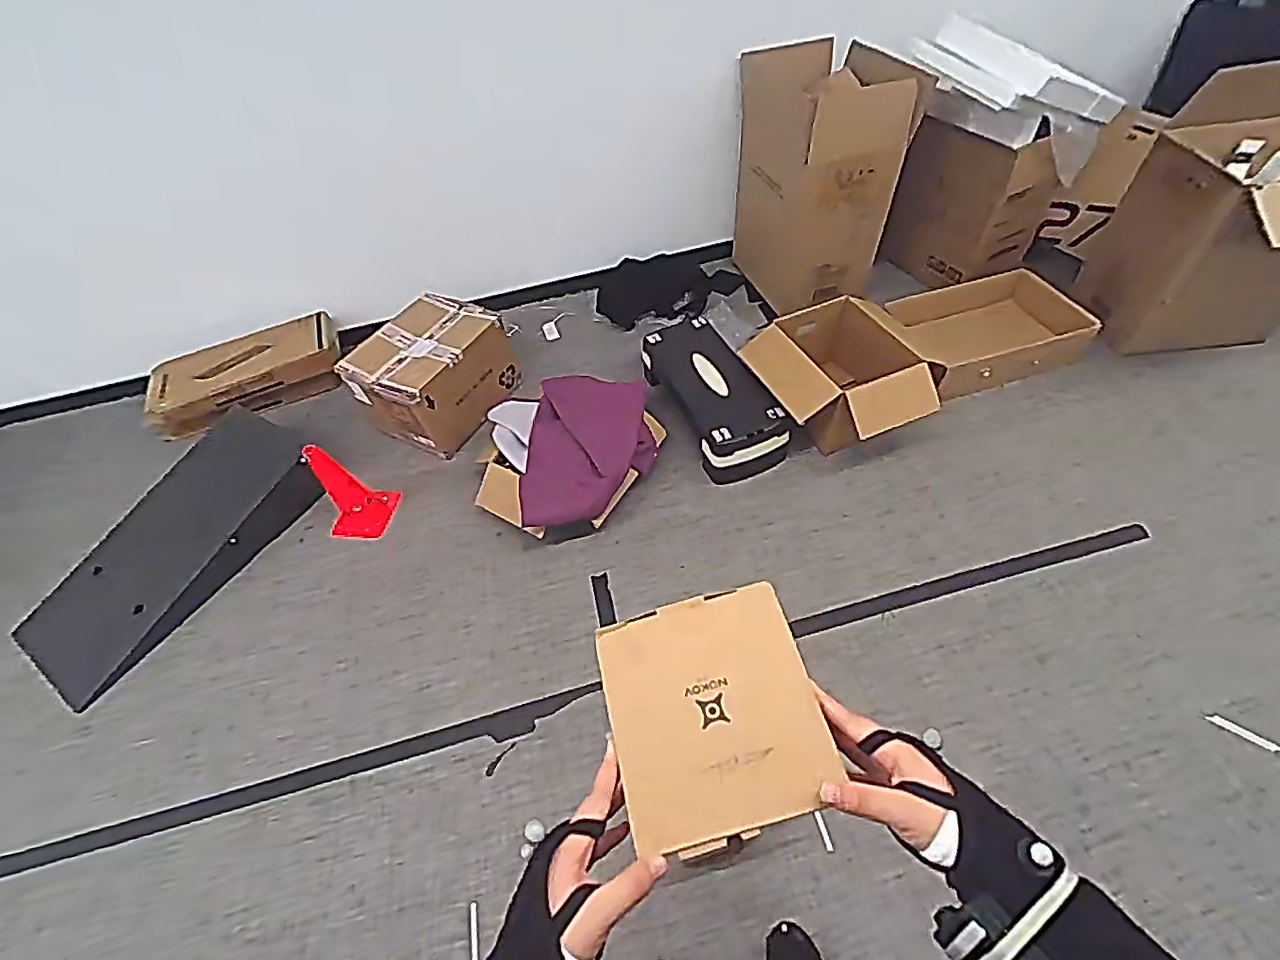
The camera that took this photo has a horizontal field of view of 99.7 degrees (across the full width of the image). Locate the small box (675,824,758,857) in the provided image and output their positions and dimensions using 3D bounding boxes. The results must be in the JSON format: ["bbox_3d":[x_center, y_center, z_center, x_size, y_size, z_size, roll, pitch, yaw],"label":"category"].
[{"bbox_3d":[0.147,0.726,1.213,0.179,0.176,0.168,-15,52,-5],"label":"small box"}]

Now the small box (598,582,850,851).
[{"bbox_3d":[0.068,0.222,0.507,0.168,0.176,0.179,-16,58,0],"label":"small box"}]
